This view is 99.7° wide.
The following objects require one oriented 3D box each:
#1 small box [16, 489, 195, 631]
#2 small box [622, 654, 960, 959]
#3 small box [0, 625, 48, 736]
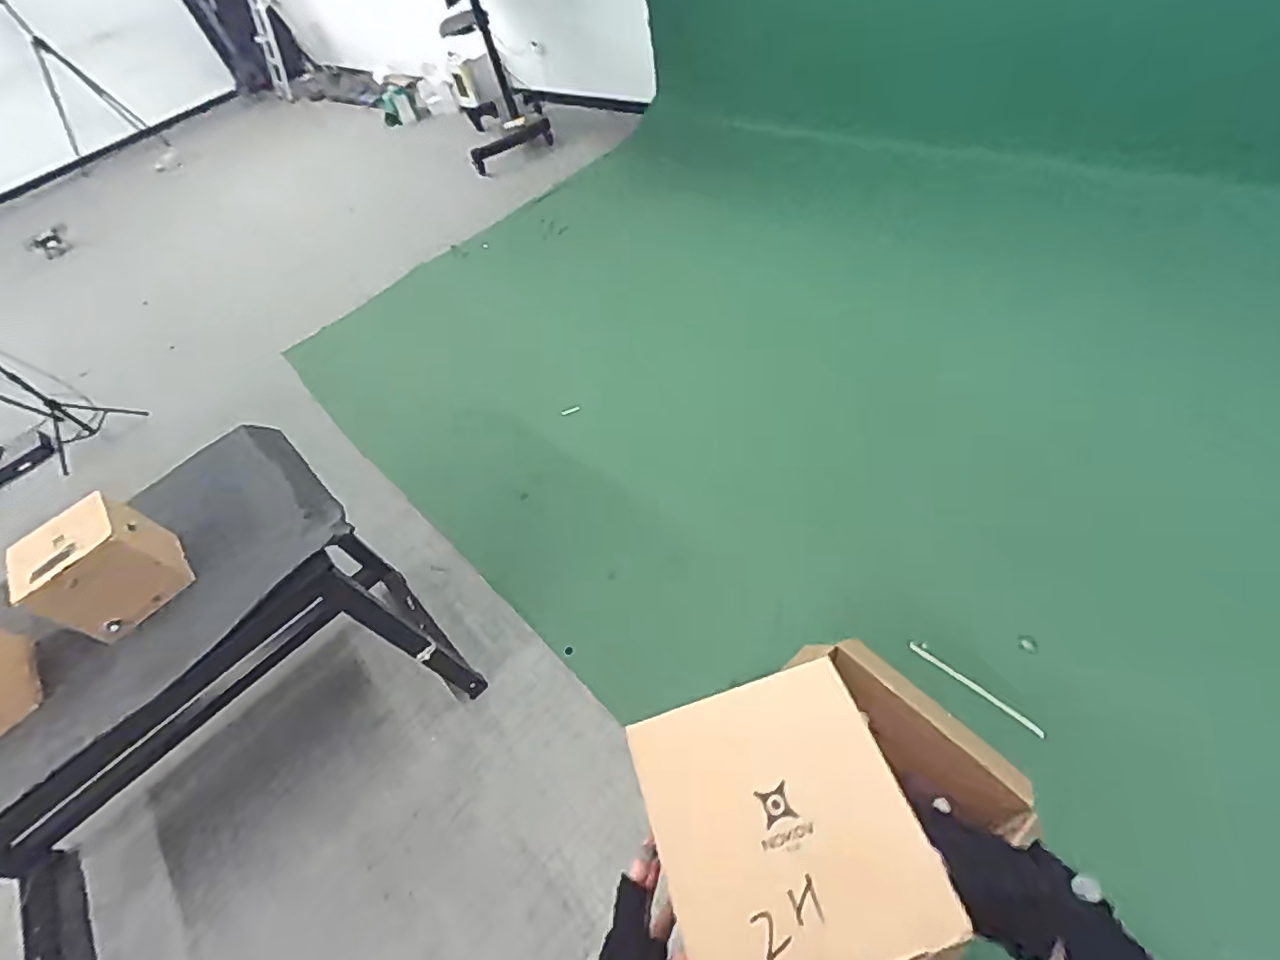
[{"bbox_3d":[-0.980,0.155,1.003,0.179,0.176,0.168,33,67,34],"label":"small box"},{"bbox_3d":[0.092,0.267,0.417,0.168,0.176,0.179,-17,53,-6],"label":"small box"},{"bbox_3d":[-1.163,0.347,0.904,0.179,0.176,0.168,33,67,33],"label":"small box"}]
